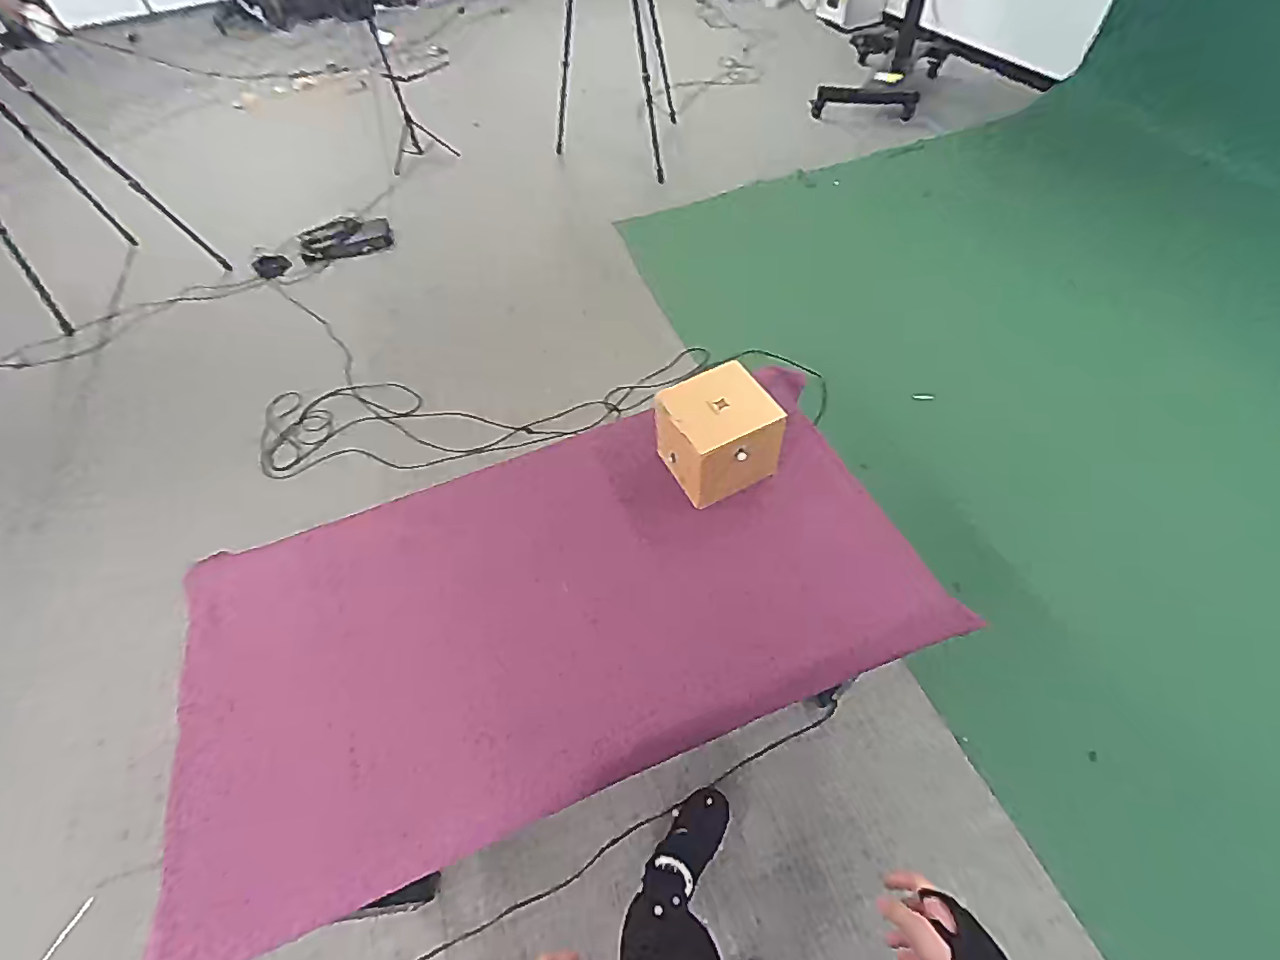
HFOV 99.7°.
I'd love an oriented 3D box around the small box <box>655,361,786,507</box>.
[{"bbox_3d":[0.143,-0.082,1.002,0.179,0.176,0.168,-26,57,-10],"label":"small box"}]
